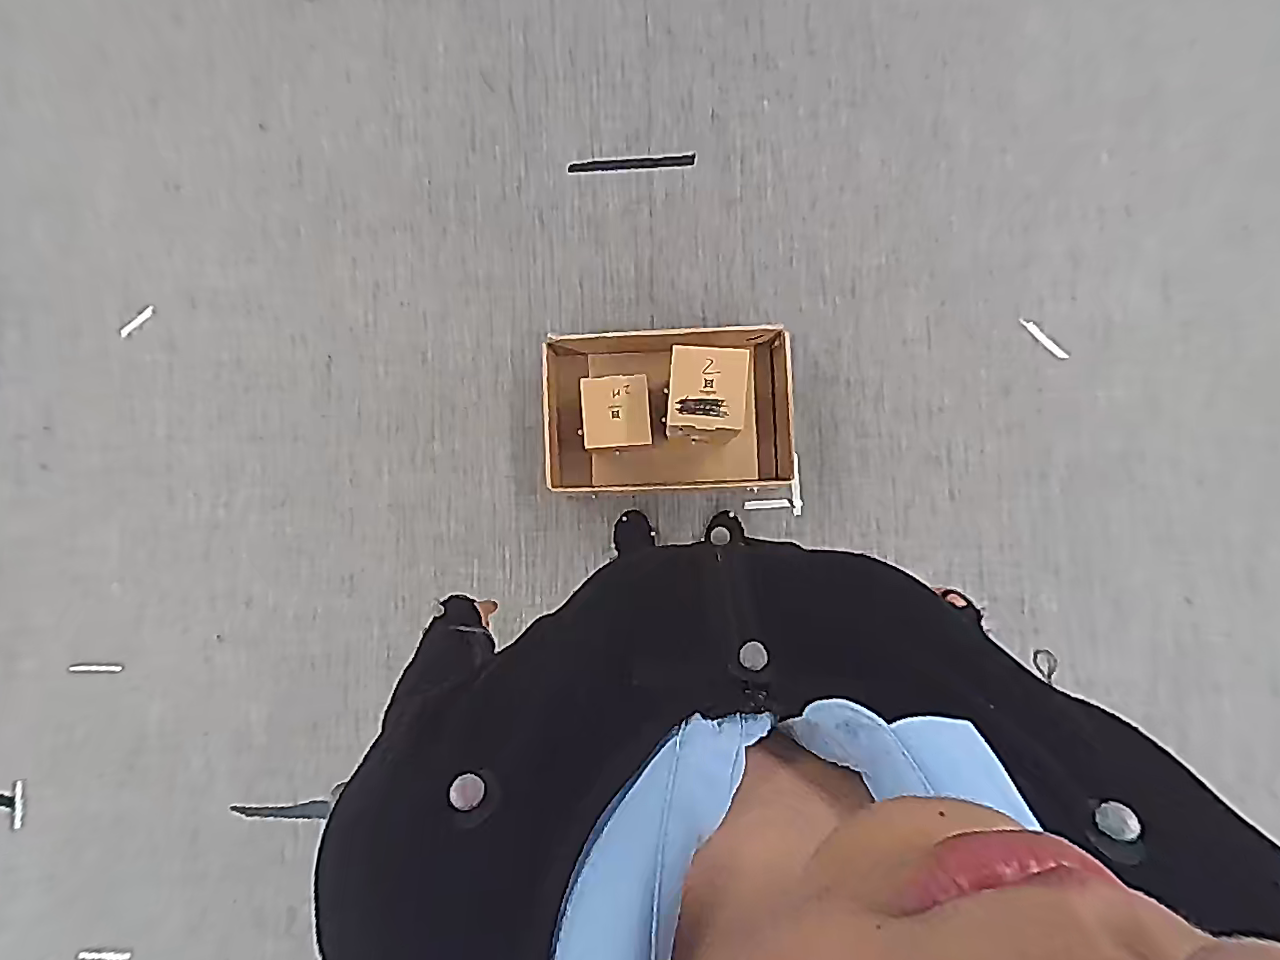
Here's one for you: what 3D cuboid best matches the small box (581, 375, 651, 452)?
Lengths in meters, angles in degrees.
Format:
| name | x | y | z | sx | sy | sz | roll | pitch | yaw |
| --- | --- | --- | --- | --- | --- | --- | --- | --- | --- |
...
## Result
| name | x | y | z | sx | sy | sz | roll | pitch | yaw |
| --- | --- | --- | --- | --- | --- | --- | --- | --- | --- |
| small box | -0.058 | -0.164 | 1.396 | 0.168 | 0.176 | 0.179 | -4 | 88 | 0 |

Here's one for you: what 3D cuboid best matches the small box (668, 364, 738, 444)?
| name | x | y | z | sx | sy | sz | roll | pitch | yaw |
| --- | --- | --- | --- | --- | --- | --- | --- | --- | --- |
| small box | 0.157 | -0.190 | 1.394 | 0.168 | 0.176 | 0.179 | 3 | 89 | 4 |
